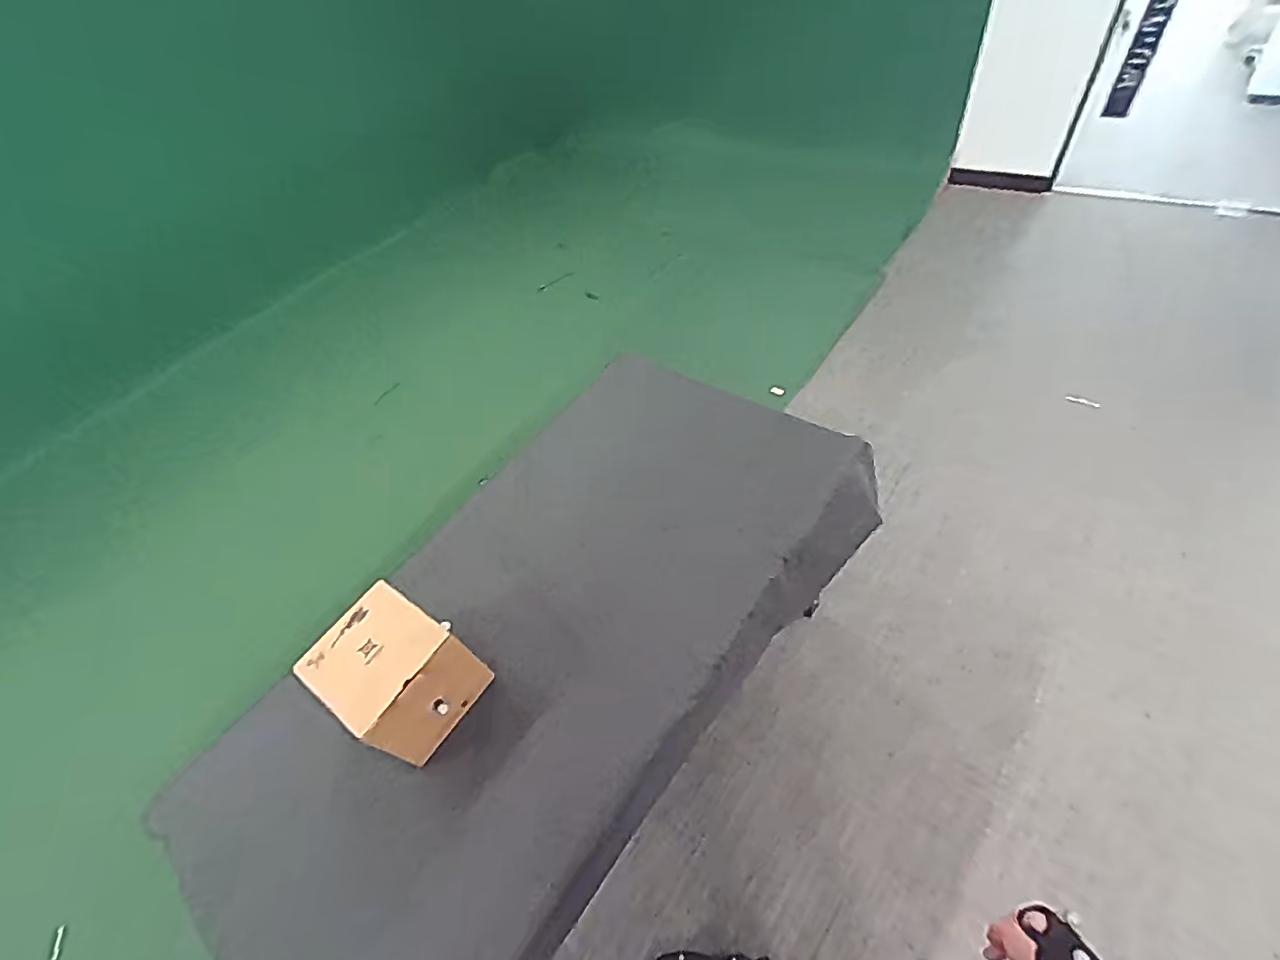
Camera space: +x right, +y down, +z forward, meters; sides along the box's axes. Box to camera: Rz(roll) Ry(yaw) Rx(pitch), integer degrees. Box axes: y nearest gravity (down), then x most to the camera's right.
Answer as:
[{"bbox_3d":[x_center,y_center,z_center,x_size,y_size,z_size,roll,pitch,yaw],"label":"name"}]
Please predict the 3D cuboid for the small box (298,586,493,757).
[{"bbox_3d":[-0.359,0.297,0.827,0.179,0.176,0.168,22,61,27],"label":"small box"}]
